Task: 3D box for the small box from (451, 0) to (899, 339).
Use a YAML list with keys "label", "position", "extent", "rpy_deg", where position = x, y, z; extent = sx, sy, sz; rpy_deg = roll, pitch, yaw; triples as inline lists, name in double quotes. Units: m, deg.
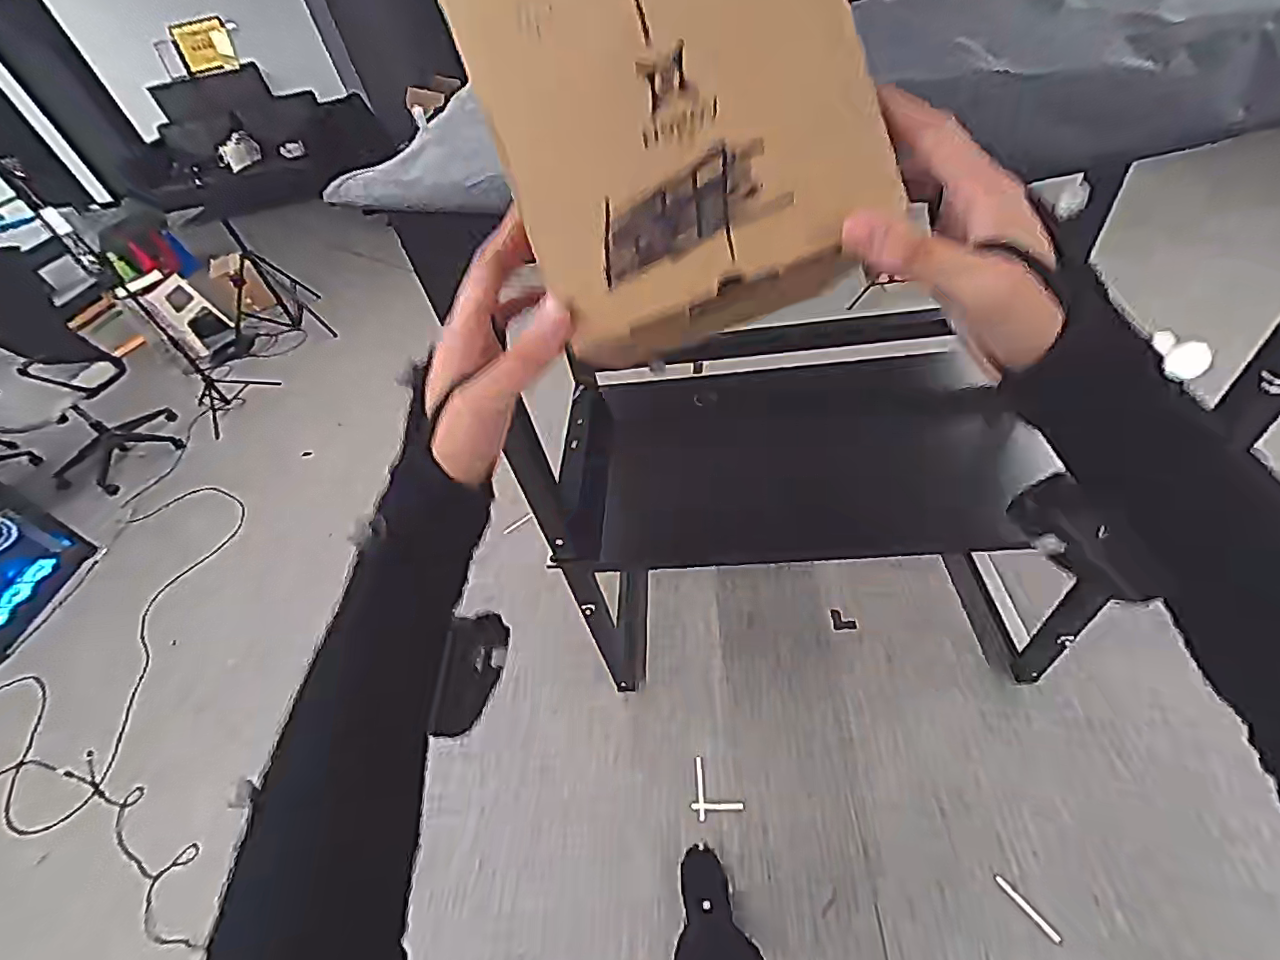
- label: "small box"
  position: [0.020, -0.193, 0.318]
  extent: [0.168, 0.179, 0.176]
  rpy_deg: [-19, 5, 7]
